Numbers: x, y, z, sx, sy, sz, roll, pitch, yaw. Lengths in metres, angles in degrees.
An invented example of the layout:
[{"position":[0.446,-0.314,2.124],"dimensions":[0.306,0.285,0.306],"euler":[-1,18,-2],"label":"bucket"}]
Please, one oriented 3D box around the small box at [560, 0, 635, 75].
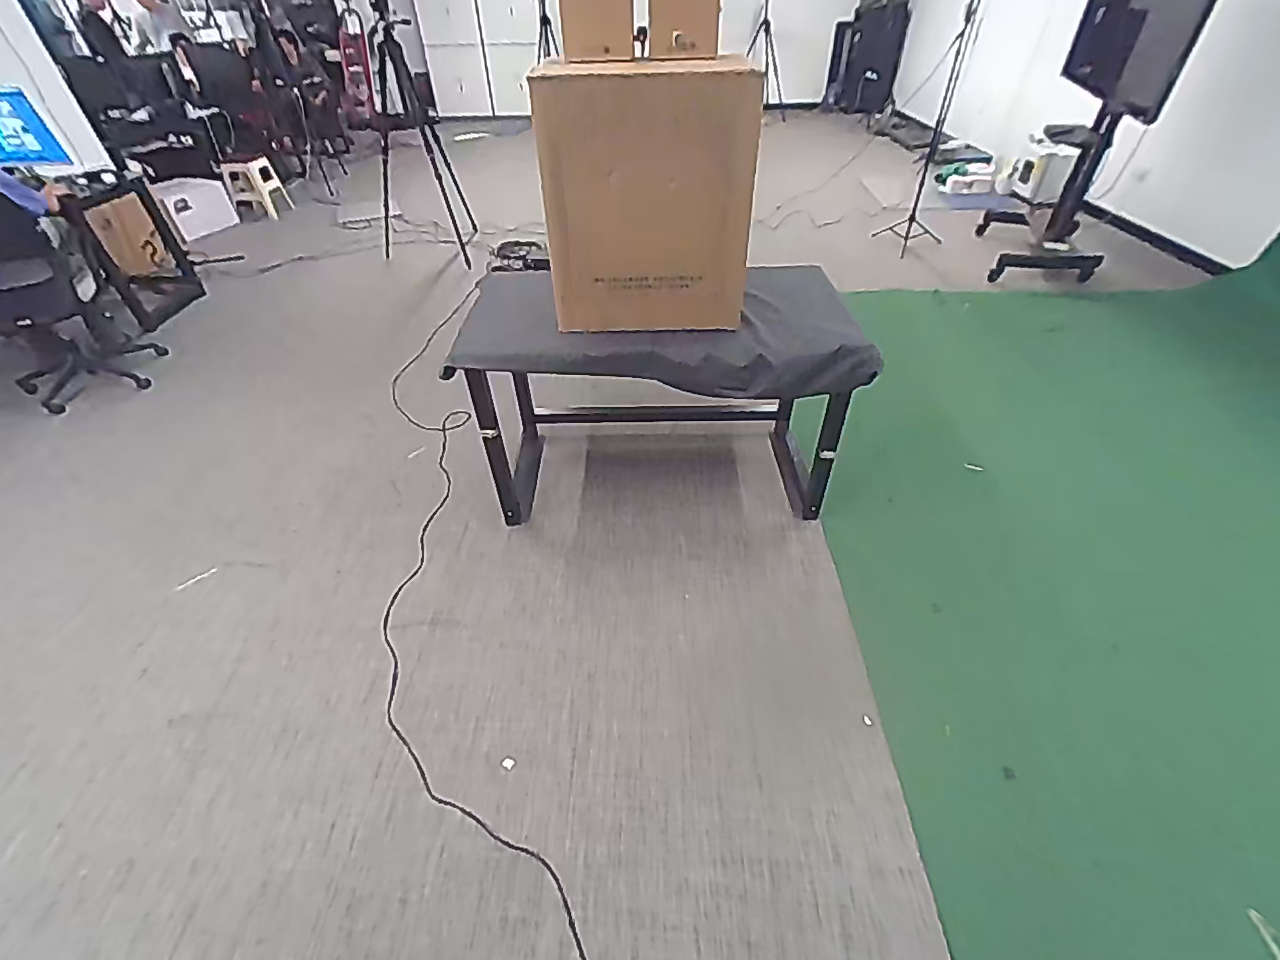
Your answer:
[{"position":[-0.100,-1.096,1.314],"dimensions":[0.168,0.176,0.179],"euler":[-1,39,2],"label":"small box"}]
